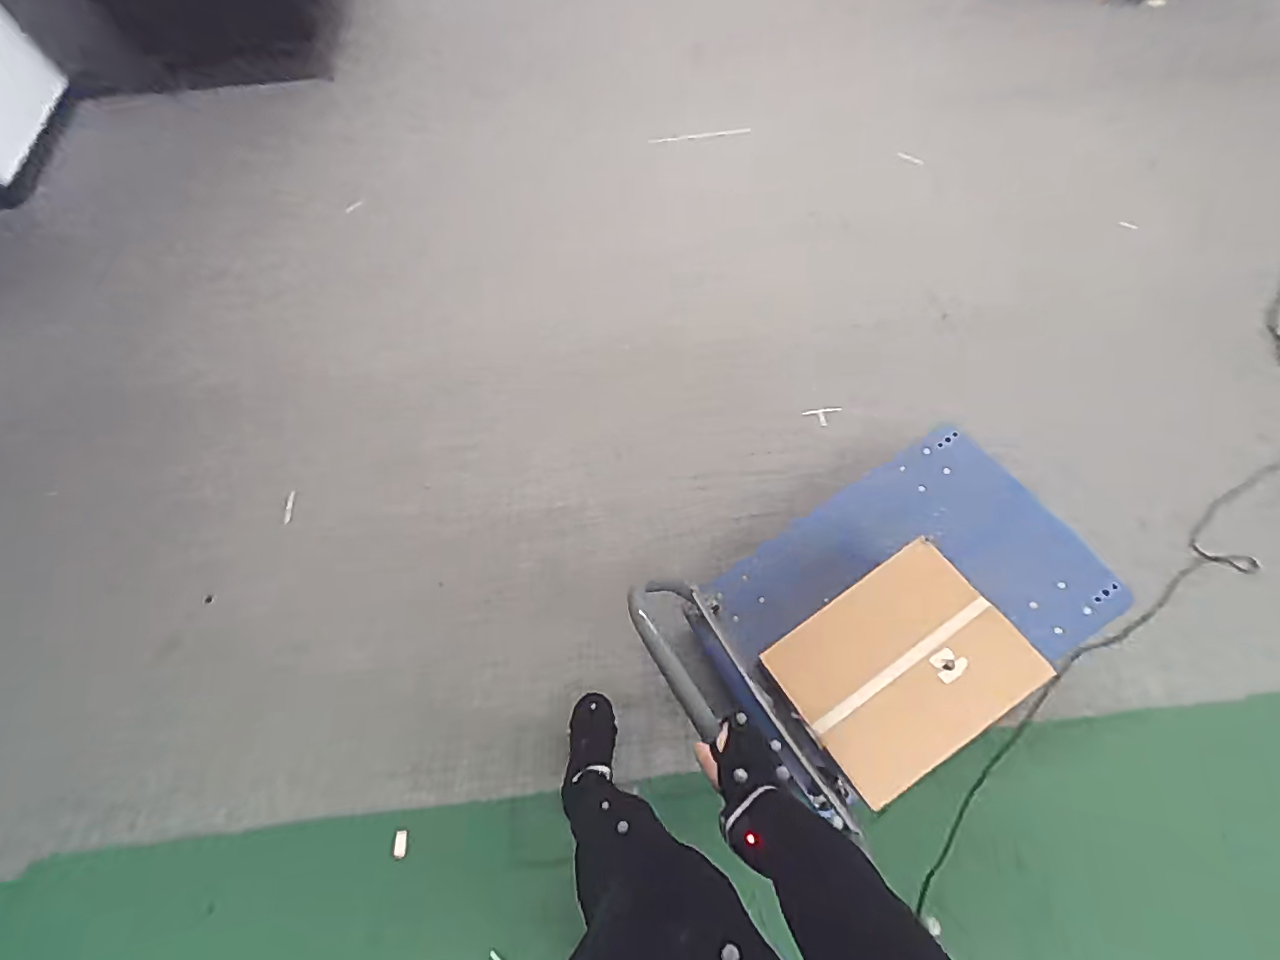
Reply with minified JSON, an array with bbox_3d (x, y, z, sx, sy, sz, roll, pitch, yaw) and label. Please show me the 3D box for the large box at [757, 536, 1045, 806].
[{"bbox_3d":[0.496,0.388,1.128,0.408,0.320,0.320,-35,68,-3],"label":"large box"}]
